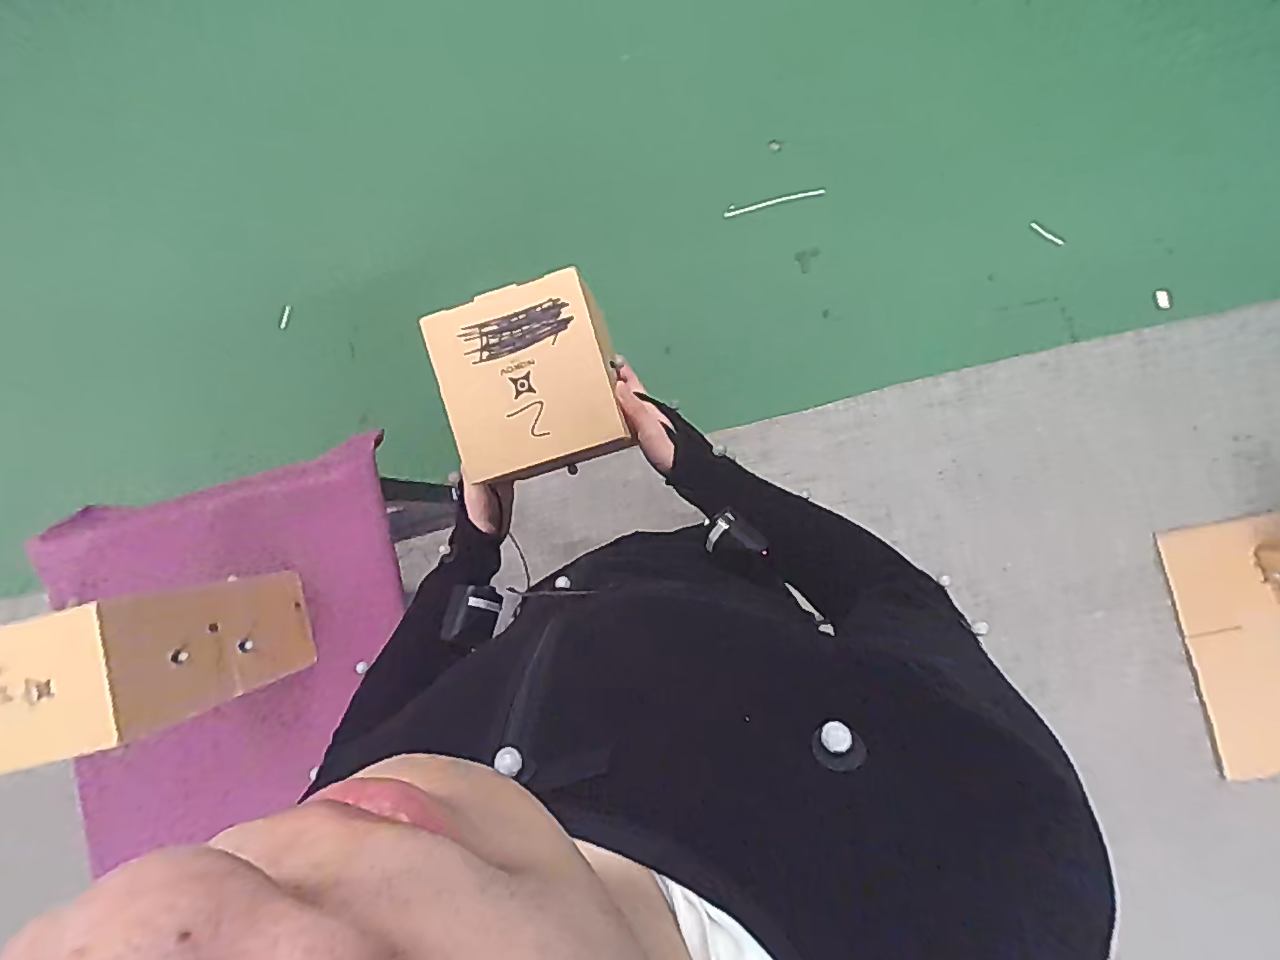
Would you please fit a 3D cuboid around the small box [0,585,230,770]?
[{"bbox_3d":[-0.675,0.242,0.701,0.179,0.176,0.168,-14,85,4],"label":"small box"}]

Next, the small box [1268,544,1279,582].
[{"bbox_3d":[1.831,0.233,1.403,0.179,0.176,0.168,-20,85,3],"label":"small box"}]

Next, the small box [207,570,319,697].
[{"bbox_3d":[-0.661,0.250,0.865,0.179,0.176,0.168,-15,87,4],"label":"small box"}]
